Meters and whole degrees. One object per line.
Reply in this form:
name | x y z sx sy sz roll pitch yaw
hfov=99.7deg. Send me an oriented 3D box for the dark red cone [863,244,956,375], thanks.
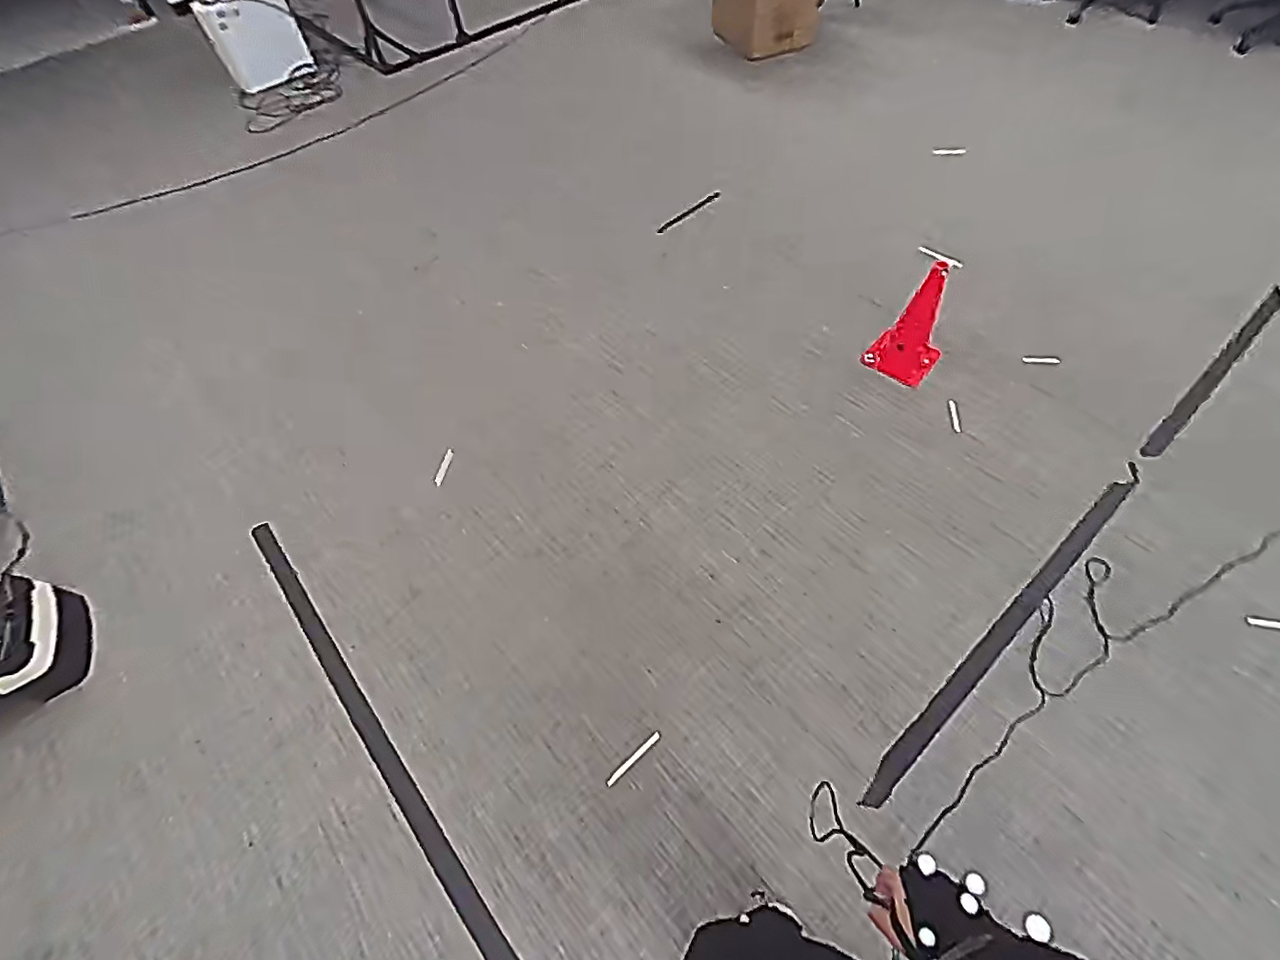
dark red cone | 0.849 -0.525 1.634 0.201 0.394 0.202 35 66 23
